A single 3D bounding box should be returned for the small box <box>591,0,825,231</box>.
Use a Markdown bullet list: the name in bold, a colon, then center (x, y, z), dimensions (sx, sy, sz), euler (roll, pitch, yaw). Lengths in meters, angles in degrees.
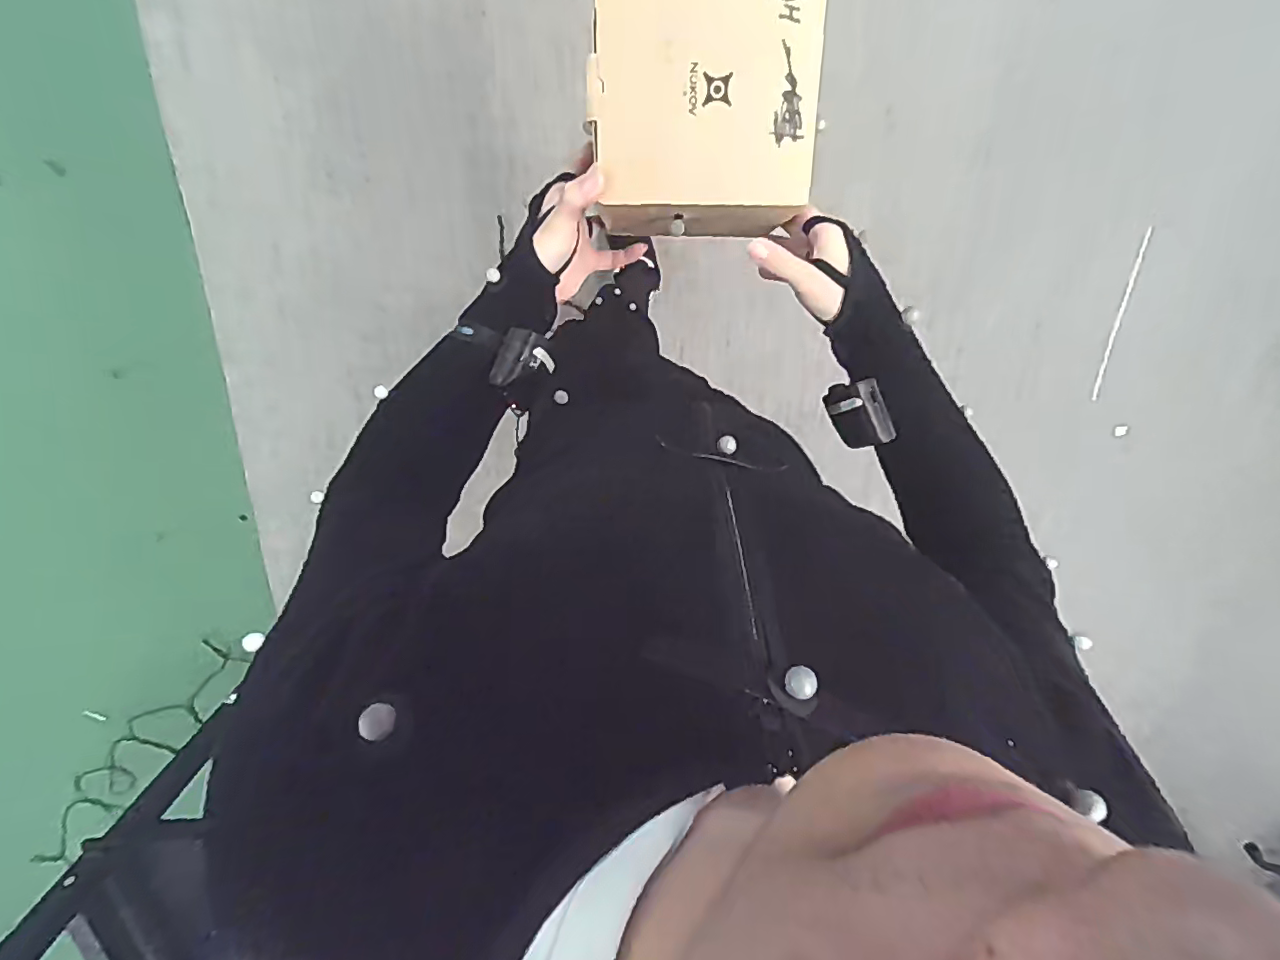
- **small box**: center (0.053, -0.329, 0.490), dimensions (0.179, 0.176, 0.168), euler (1, 105, 1)
